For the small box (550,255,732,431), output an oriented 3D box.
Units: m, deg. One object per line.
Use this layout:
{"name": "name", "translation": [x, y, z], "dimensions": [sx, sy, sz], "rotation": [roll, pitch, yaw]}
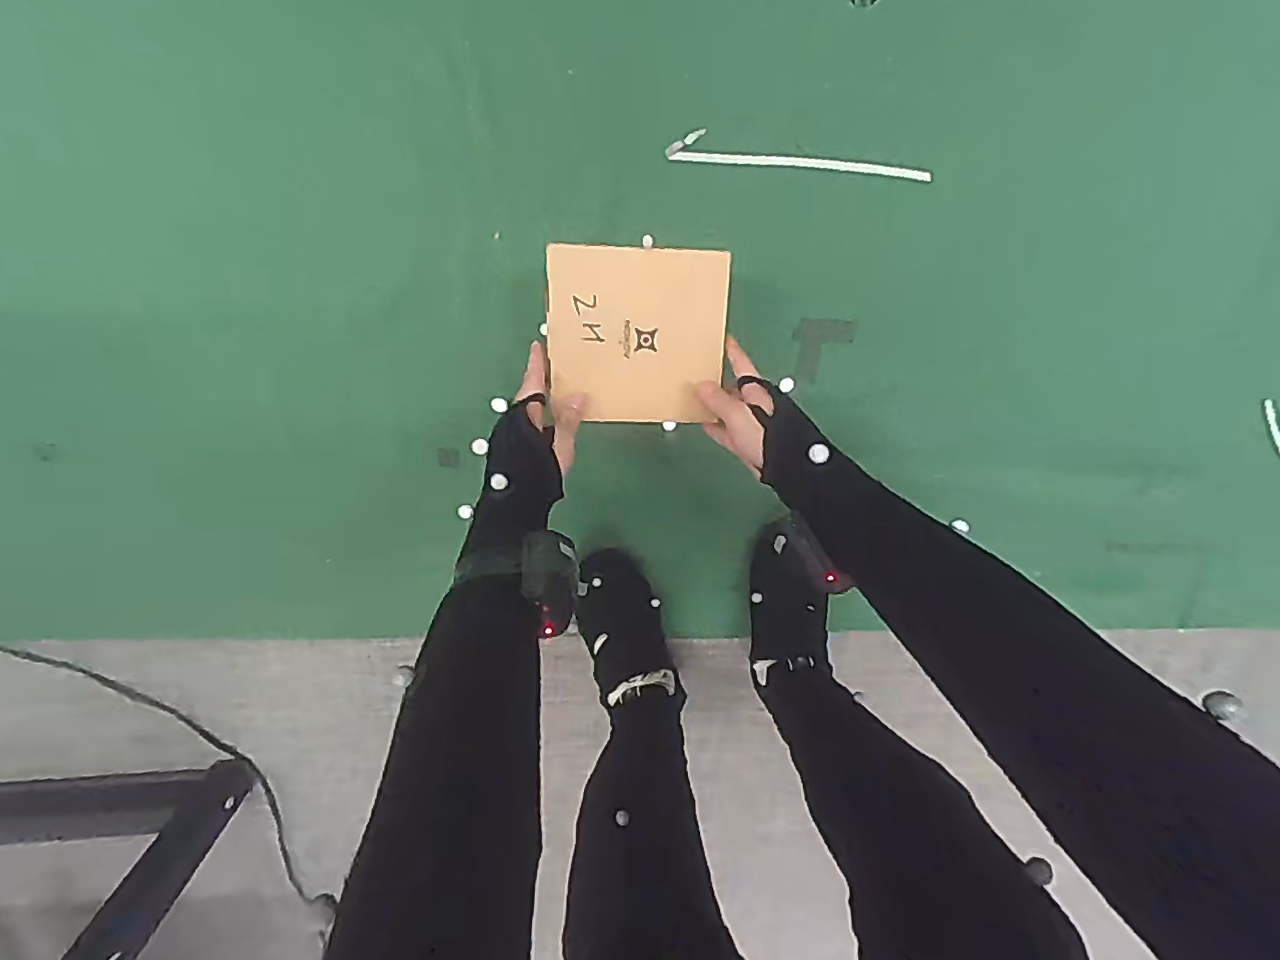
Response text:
{"name": "small box", "translation": [-0.008, -0.156, 0.609], "dimensions": [0.179, 0.176, 0.168], "rotation": [1, 108, -4]}
